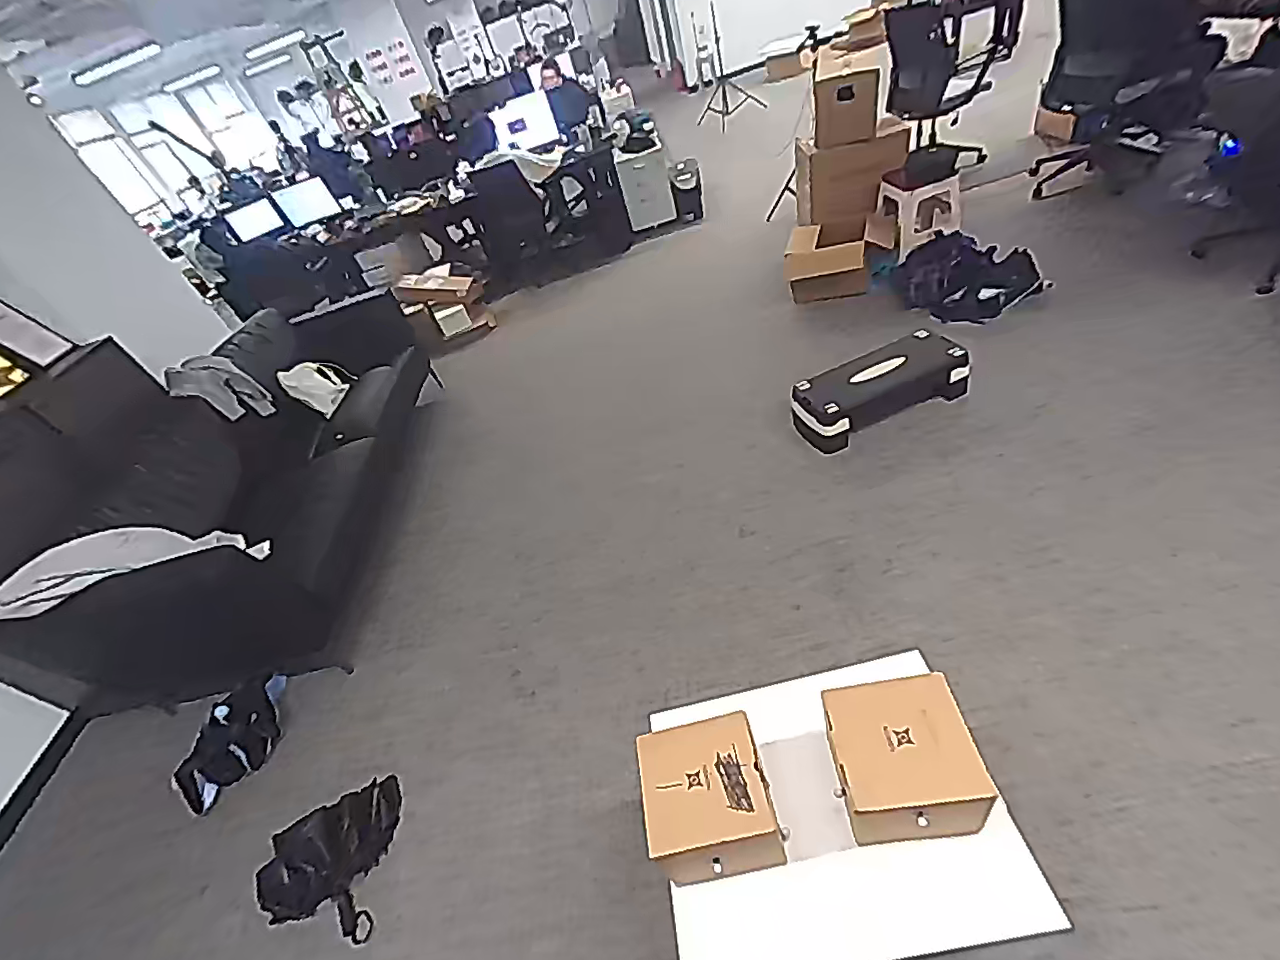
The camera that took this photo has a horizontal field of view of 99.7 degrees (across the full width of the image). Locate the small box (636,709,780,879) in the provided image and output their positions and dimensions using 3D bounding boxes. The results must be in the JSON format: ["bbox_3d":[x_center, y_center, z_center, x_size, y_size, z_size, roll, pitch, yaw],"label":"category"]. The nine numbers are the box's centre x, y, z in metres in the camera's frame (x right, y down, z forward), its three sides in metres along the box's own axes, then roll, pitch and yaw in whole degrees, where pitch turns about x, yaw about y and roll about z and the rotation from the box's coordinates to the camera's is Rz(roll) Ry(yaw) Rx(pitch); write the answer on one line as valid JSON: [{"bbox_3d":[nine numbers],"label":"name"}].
[{"bbox_3d":[0.106,0.480,0.824,0.179,0.176,0.168,-17,40,6],"label":"small box"}]

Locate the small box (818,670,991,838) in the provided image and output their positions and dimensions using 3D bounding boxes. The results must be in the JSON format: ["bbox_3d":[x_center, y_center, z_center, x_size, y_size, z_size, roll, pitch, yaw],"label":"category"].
[{"bbox_3d":[0.375,0.406,0.793,0.179,0.176,0.168,-13,43,10],"label":"small box"}]
